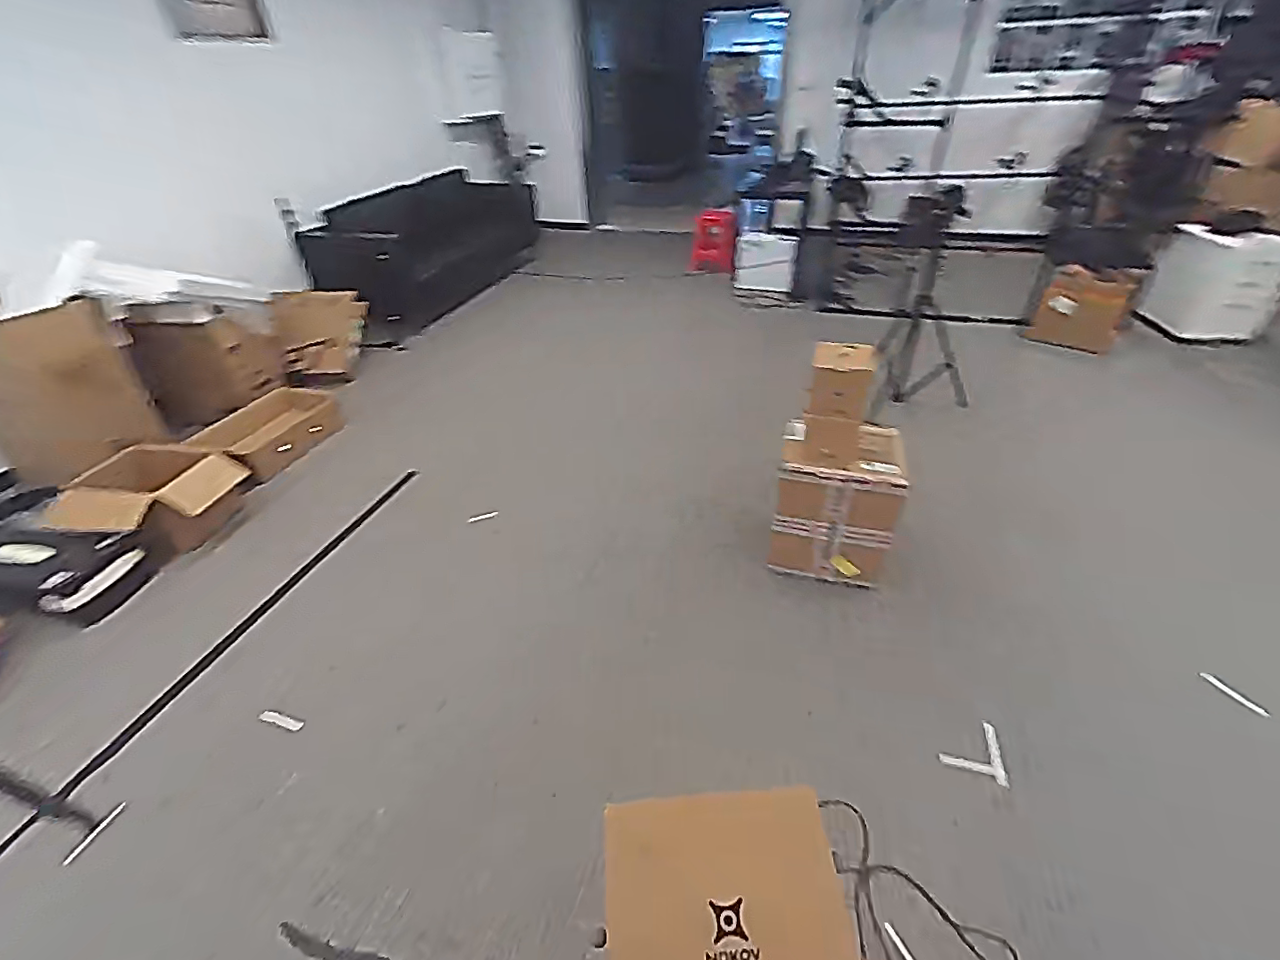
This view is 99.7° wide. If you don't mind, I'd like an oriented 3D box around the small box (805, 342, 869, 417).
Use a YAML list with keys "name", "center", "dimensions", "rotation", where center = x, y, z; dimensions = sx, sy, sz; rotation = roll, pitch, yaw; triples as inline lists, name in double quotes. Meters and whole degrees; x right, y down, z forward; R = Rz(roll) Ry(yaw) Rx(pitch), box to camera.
- name: "small box"
  center: [0.618, -0.314, 1.698]
  dimensions: [0.168, 0.176, 0.179]
  rotation: [8, 42, 16]

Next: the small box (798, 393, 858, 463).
- name: "small box"
  center: [0.622, -0.180, 1.792]
  dimensions: [0.168, 0.176, 0.179]
  rotation: [7, 41, 14]
